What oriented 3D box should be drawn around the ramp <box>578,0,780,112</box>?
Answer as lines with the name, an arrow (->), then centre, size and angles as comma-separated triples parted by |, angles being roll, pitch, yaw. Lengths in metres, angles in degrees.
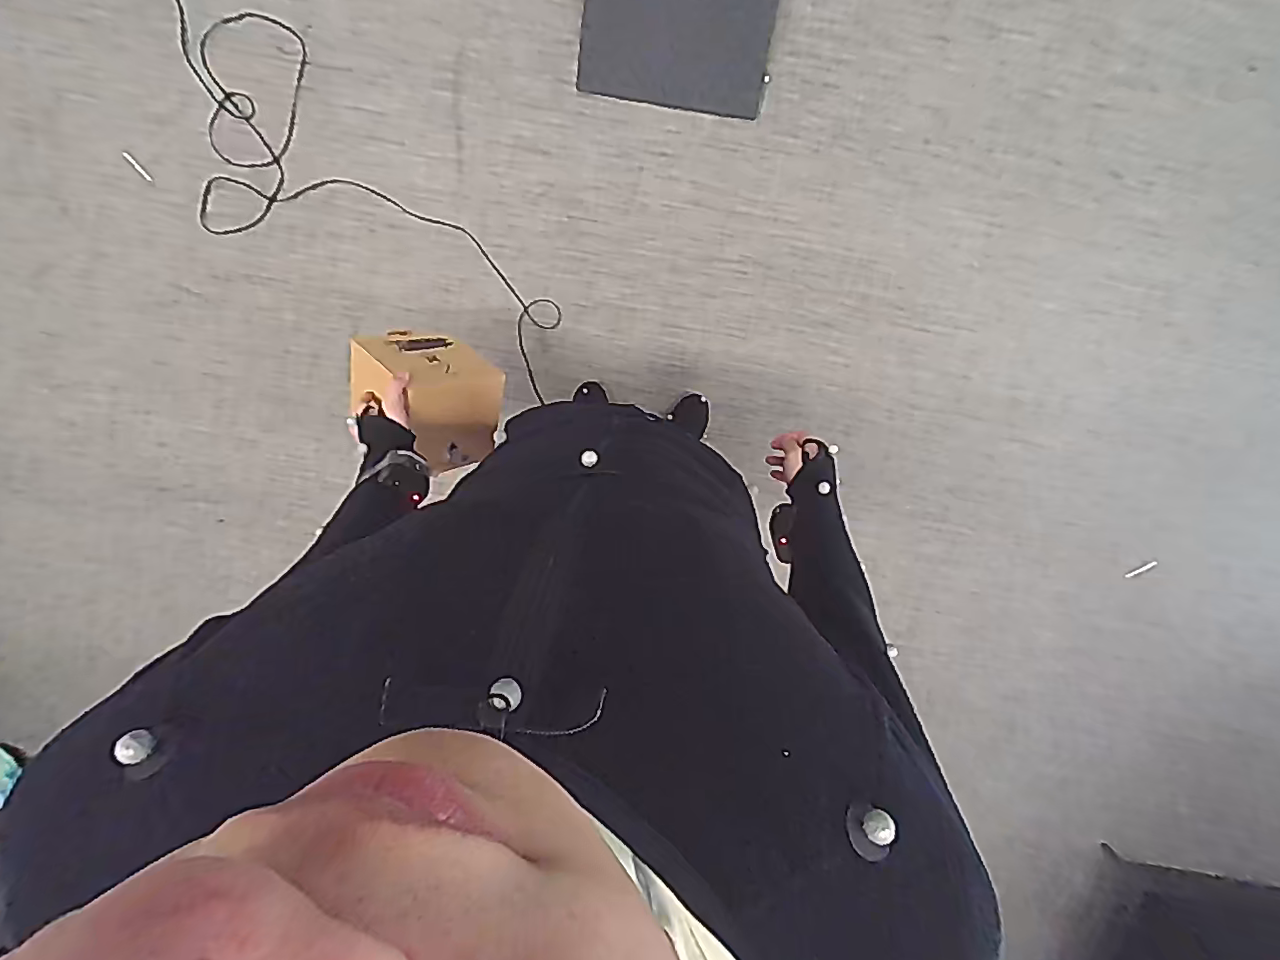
ramp -> 0.148, -1.465, 1.248 | 0.509, 0.206, 0.991 | 7, 102, -1
